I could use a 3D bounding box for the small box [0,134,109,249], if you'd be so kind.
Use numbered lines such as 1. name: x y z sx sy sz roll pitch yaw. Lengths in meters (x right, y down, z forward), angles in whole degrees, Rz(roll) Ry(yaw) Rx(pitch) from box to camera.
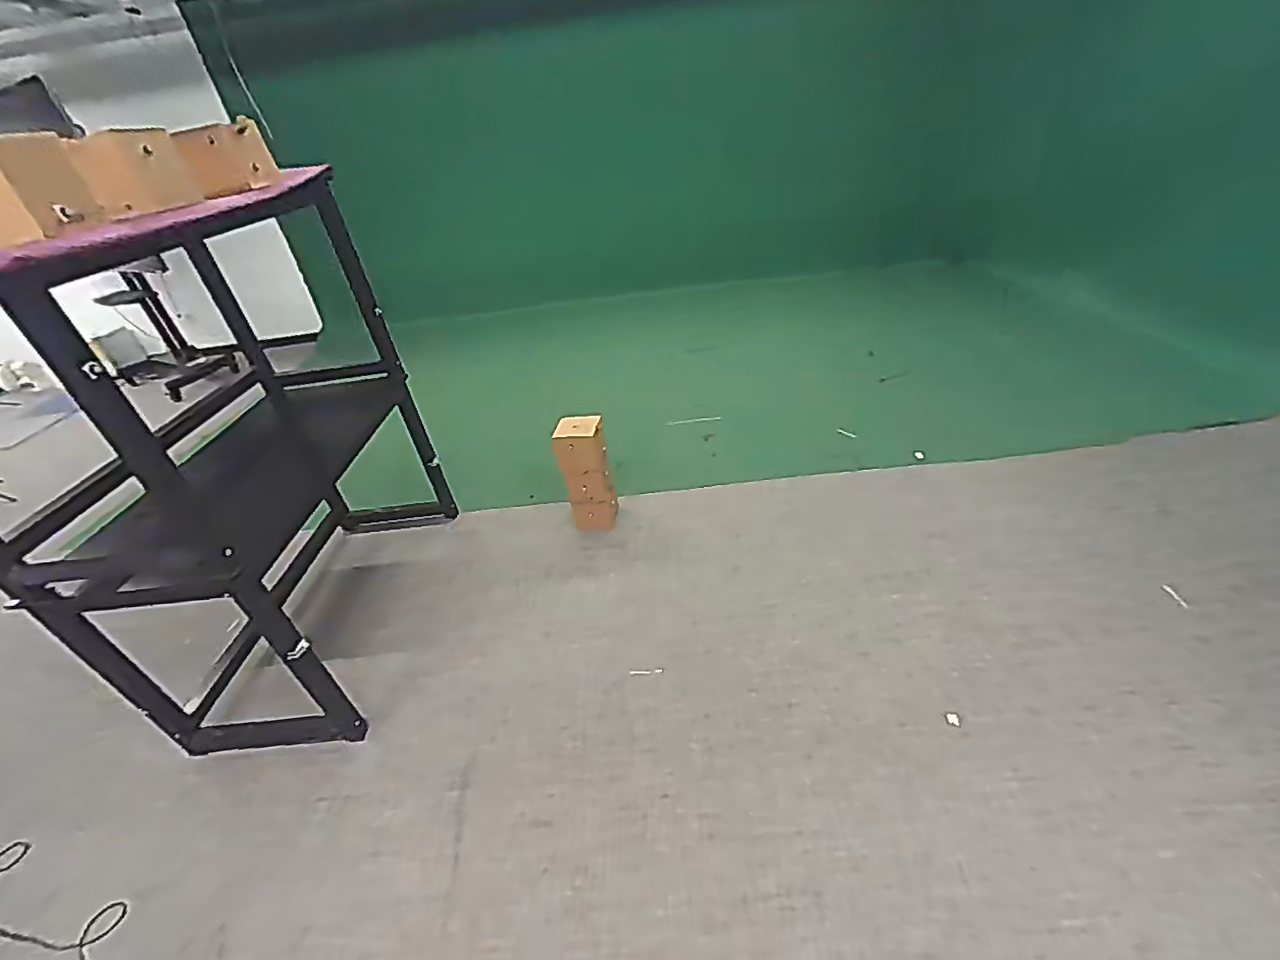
1. small box: -1.183 -0.536 1.010 0.179 0.176 0.168 -7 35 0

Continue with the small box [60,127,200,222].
1. small box: -1.224 -0.731 1.299 0.168 0.176 0.179 -7 34 5

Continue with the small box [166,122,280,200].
1. small box: -1.221 -0.938 1.594 0.179 0.176 0.168 -6 36 7

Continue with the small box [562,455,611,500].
1. small box: -0.226 -0.022 2.343 0.168 0.176 0.179 -3 36 9

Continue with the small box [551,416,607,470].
1. small box: -0.248 -0.150 2.238 0.179 0.176 0.168 -1 36 12
